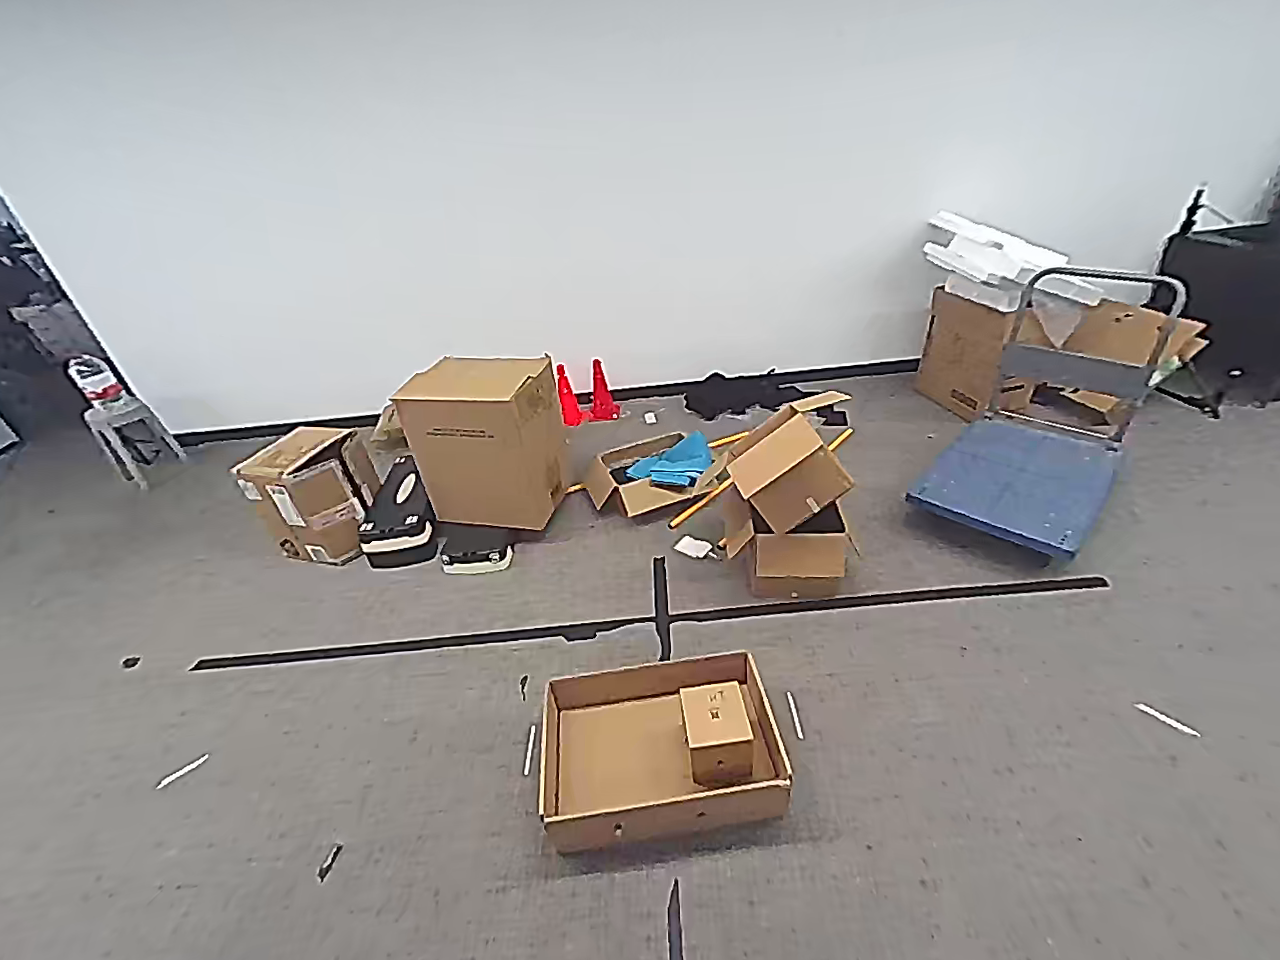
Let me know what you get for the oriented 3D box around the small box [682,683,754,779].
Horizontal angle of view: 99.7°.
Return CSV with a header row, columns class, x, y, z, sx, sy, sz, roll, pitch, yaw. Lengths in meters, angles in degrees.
class,x,y,z,sx,sy,sz,roll,pitch,yaw
small box,0.210,0.686,1.465,0.168,0.176,0.179,-7,32,-1
